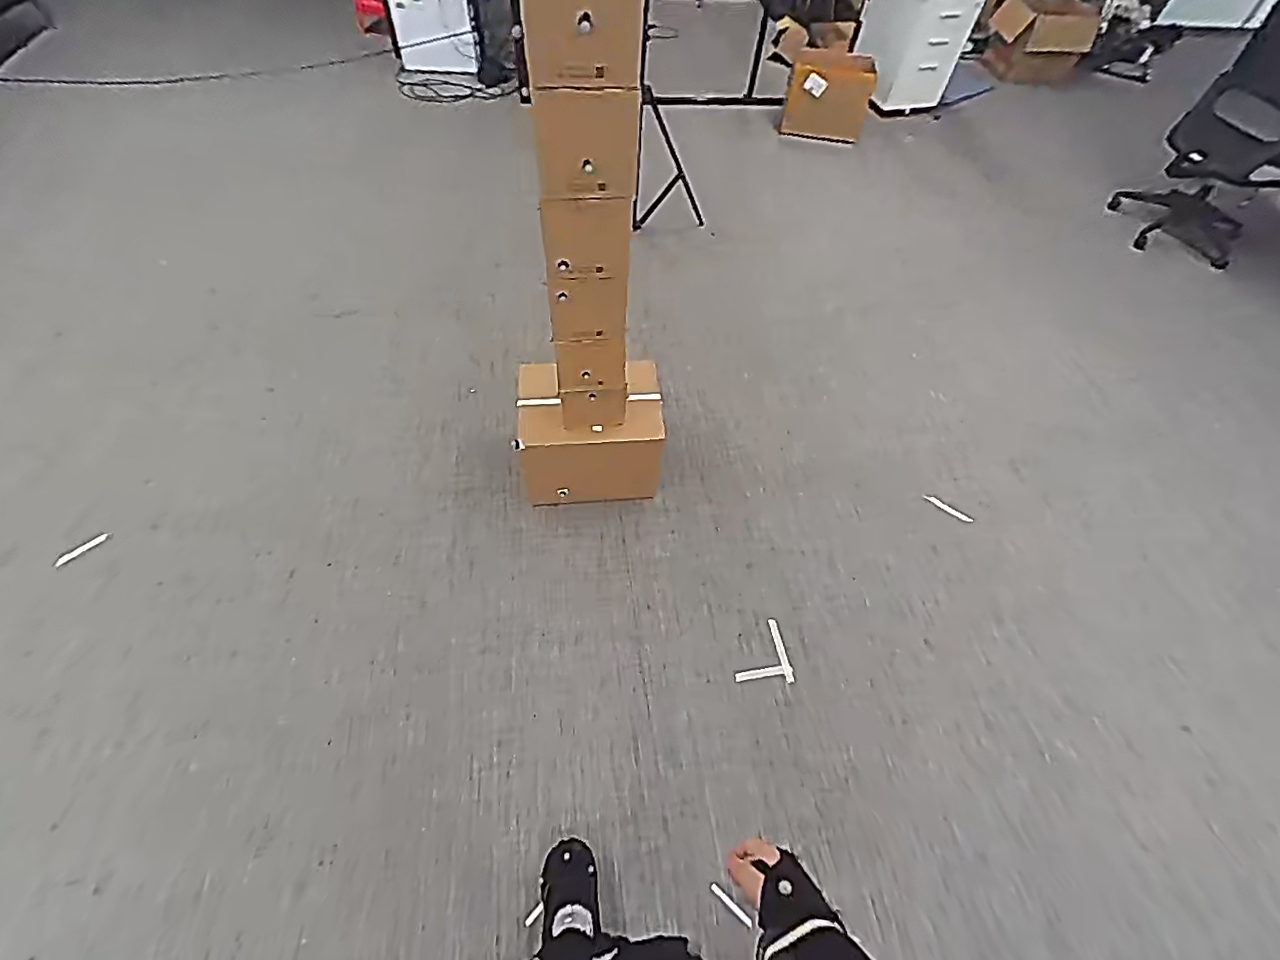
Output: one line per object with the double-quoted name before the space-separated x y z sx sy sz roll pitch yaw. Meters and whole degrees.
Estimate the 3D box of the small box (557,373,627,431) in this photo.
"small box" -0.134 -0.248 1.476 0.179 0.176 0.168 -5 57 -9

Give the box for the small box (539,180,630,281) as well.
"small box" -0.107 -0.510 1.062 0.168 0.176 0.179 -3 57 -6

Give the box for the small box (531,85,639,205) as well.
"small box" -0.098 -0.598 0.924 0.168 0.176 0.179 -6 58 -7

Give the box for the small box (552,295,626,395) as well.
"small box" -0.128 -0.331 1.336 0.168 0.176 0.179 -5 58 -7

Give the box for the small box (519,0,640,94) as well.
"small box" -0.092 -0.691 0.788 0.168 0.176 0.179 -6 58 -8
